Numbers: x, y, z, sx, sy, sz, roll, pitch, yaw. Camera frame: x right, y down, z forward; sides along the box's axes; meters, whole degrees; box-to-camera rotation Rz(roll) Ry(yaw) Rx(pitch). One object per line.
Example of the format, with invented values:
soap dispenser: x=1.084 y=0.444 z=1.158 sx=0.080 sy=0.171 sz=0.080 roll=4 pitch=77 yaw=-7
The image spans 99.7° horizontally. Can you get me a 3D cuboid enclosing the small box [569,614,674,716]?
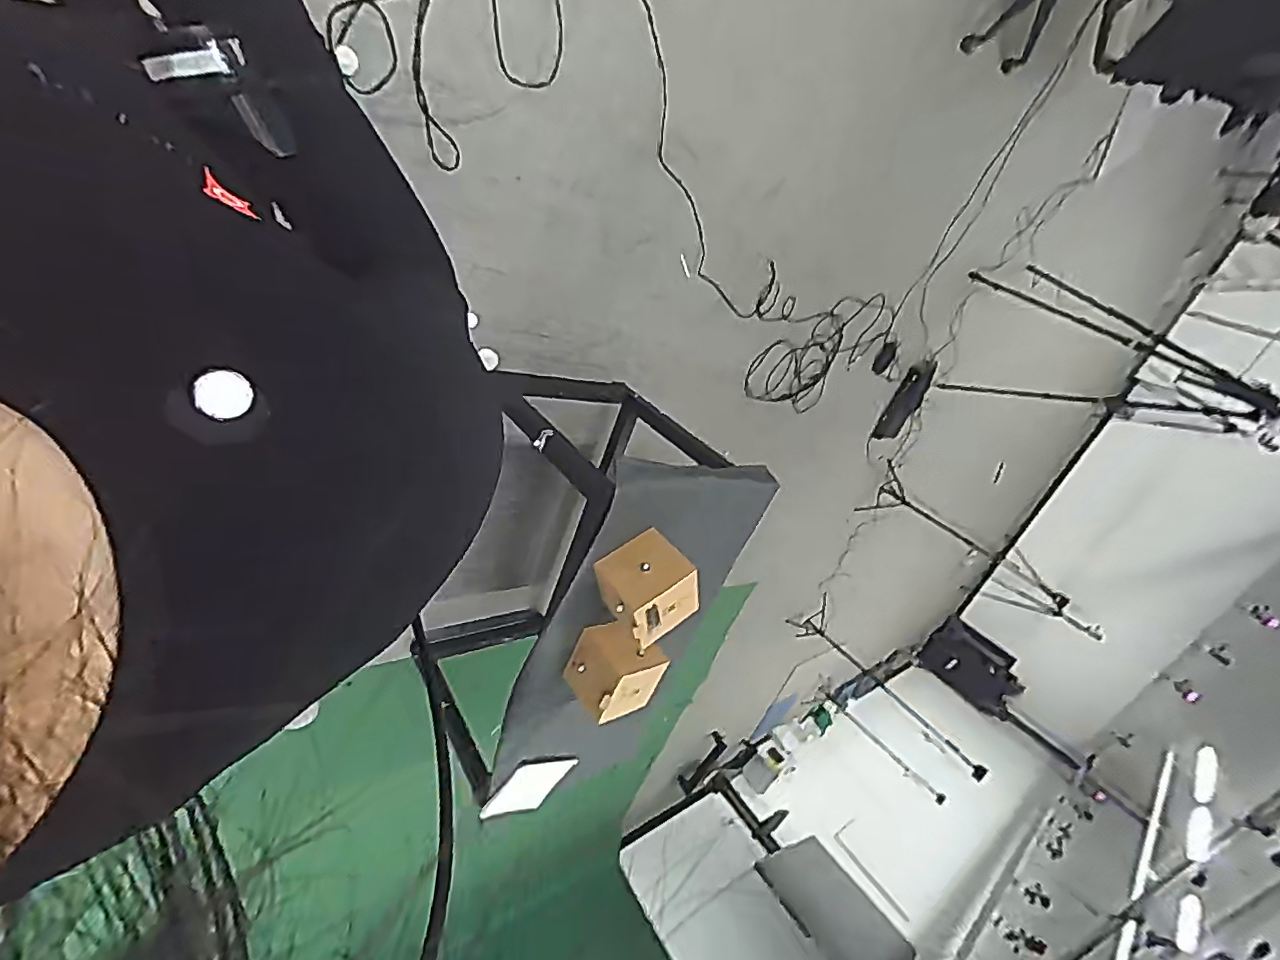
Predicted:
small box: x=-0.051 y=0.467 z=1.395 sx=0.179 sy=0.176 sz=0.168 roll=2 pitch=120 yaw=-44
